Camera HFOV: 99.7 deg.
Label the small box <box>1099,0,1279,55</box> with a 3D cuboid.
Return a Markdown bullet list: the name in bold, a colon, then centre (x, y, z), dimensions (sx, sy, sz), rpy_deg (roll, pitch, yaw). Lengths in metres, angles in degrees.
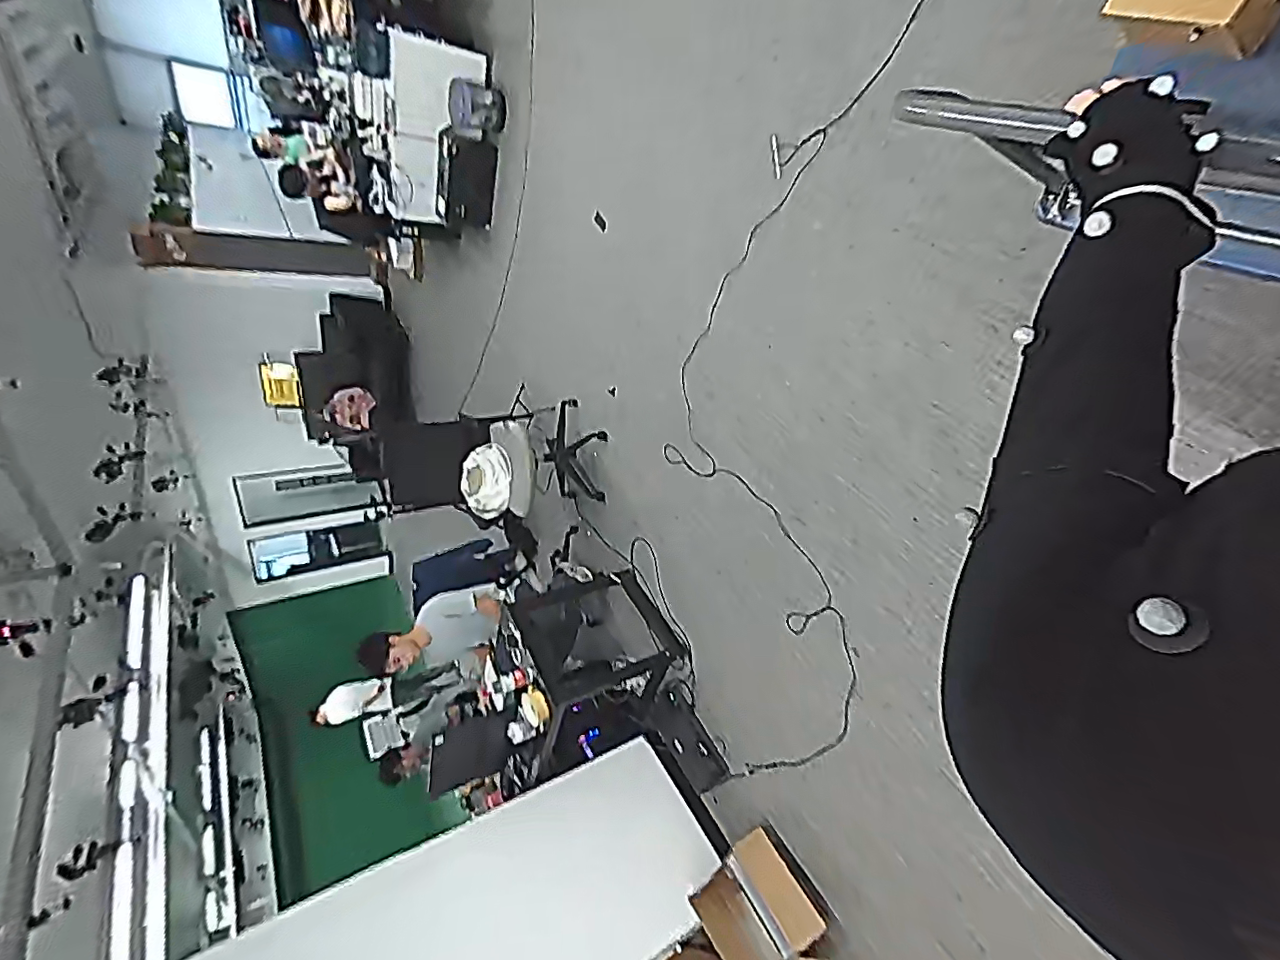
- **small box**: centre (0.857, -0.768, 0.808), dimensions (0.179, 0.176, 0.168), rpy_deg (48, 135, 35)
